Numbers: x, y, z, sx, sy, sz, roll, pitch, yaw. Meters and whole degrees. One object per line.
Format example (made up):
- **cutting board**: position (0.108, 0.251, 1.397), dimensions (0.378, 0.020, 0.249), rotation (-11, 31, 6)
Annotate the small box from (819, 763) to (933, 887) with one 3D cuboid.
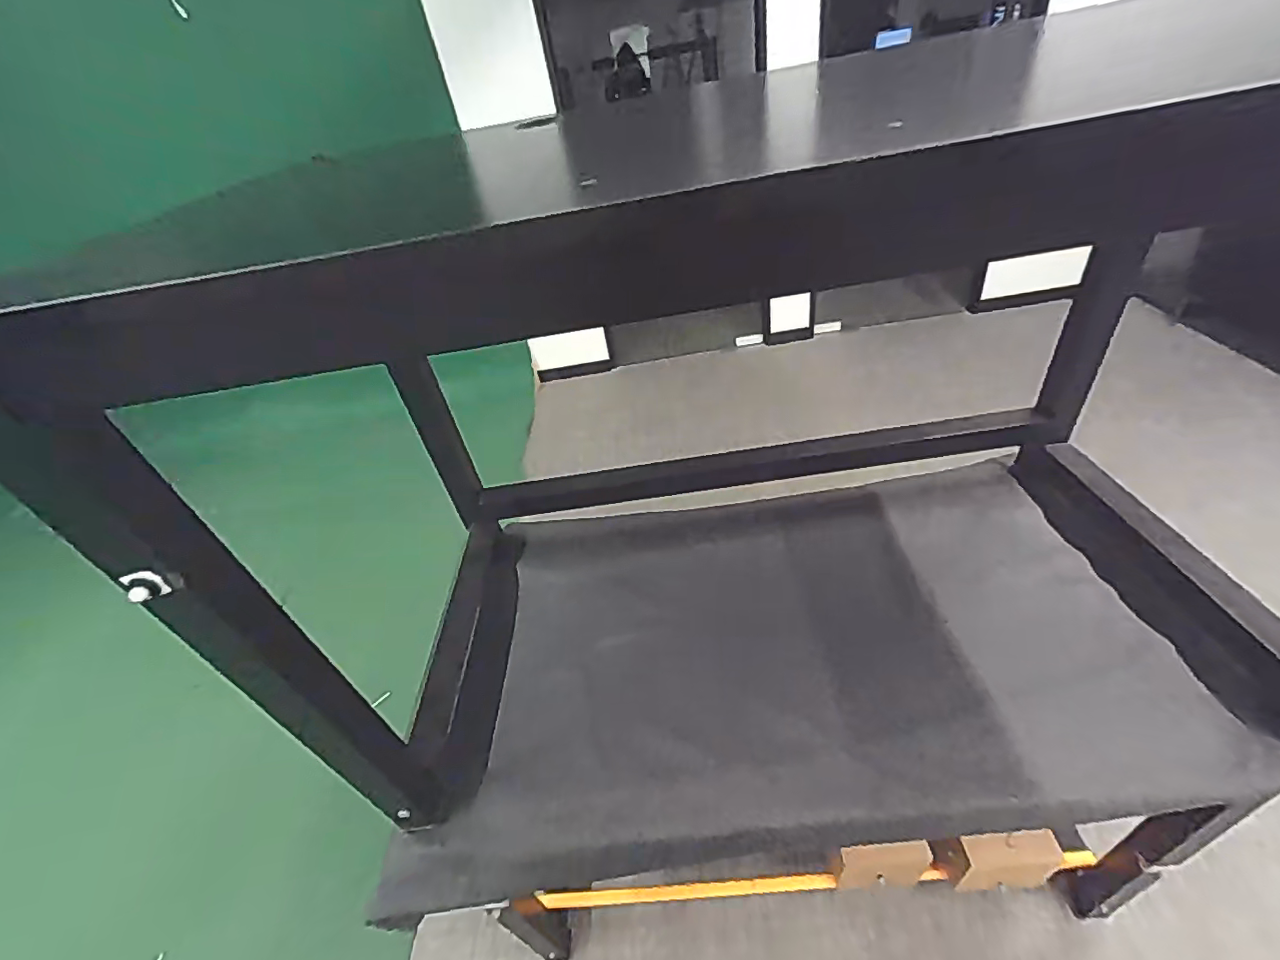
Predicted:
- **small box**: position (0.478, 0.720, 1.122), dimensions (0.168, 0.176, 0.179), rotation (-9, 39, 5)
